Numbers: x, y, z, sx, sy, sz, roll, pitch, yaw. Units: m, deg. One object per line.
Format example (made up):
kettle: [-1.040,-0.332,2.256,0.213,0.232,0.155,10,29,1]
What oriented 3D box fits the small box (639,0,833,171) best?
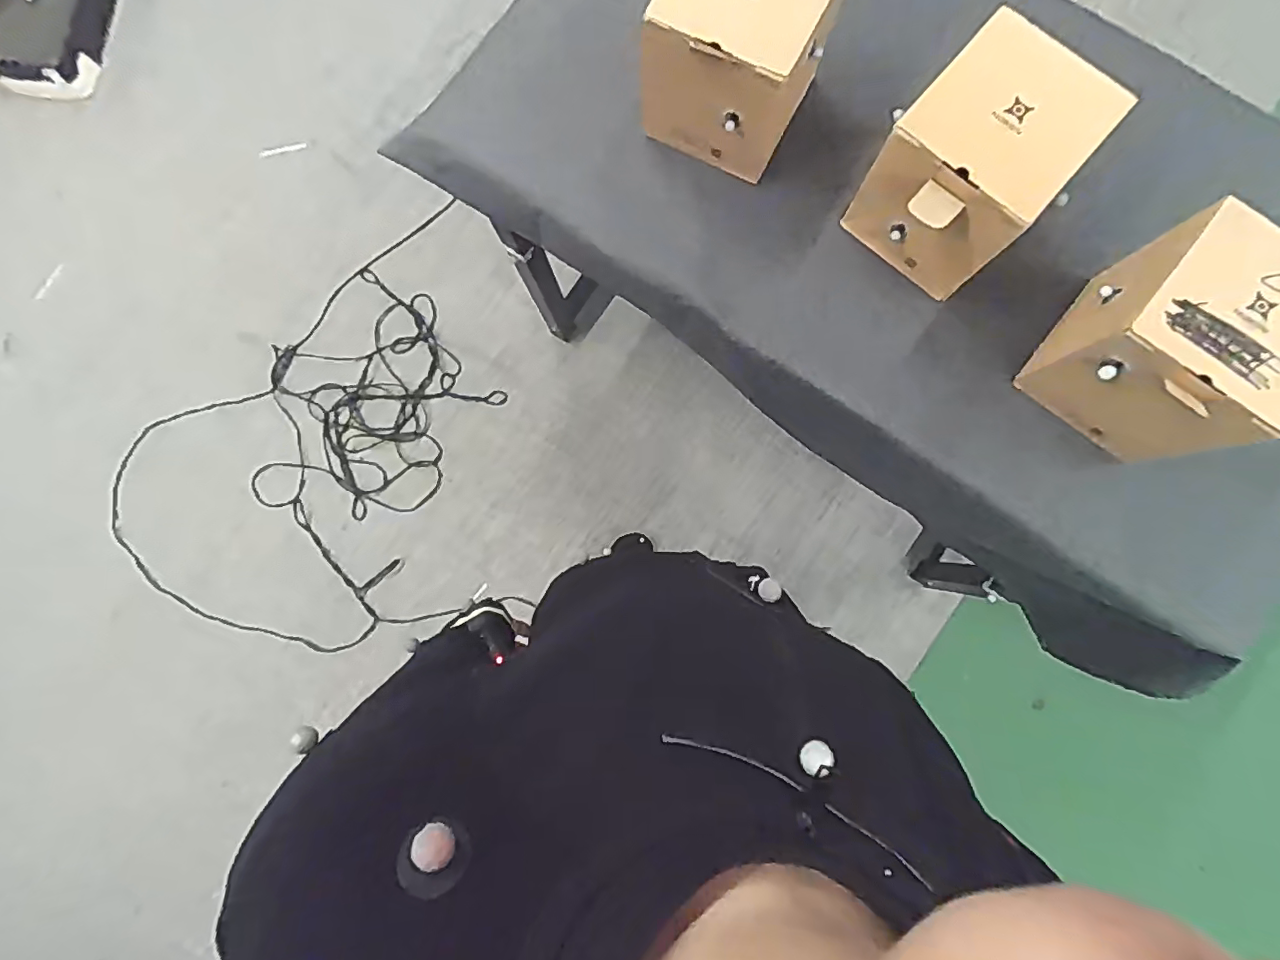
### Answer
small box: [0.111,-0.505,0.622,0.168,0.176,0.179,27,84,3]

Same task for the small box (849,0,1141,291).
small box: [0.367,-0.351,0.598,0.168,0.176,0.179,41,87,5]
